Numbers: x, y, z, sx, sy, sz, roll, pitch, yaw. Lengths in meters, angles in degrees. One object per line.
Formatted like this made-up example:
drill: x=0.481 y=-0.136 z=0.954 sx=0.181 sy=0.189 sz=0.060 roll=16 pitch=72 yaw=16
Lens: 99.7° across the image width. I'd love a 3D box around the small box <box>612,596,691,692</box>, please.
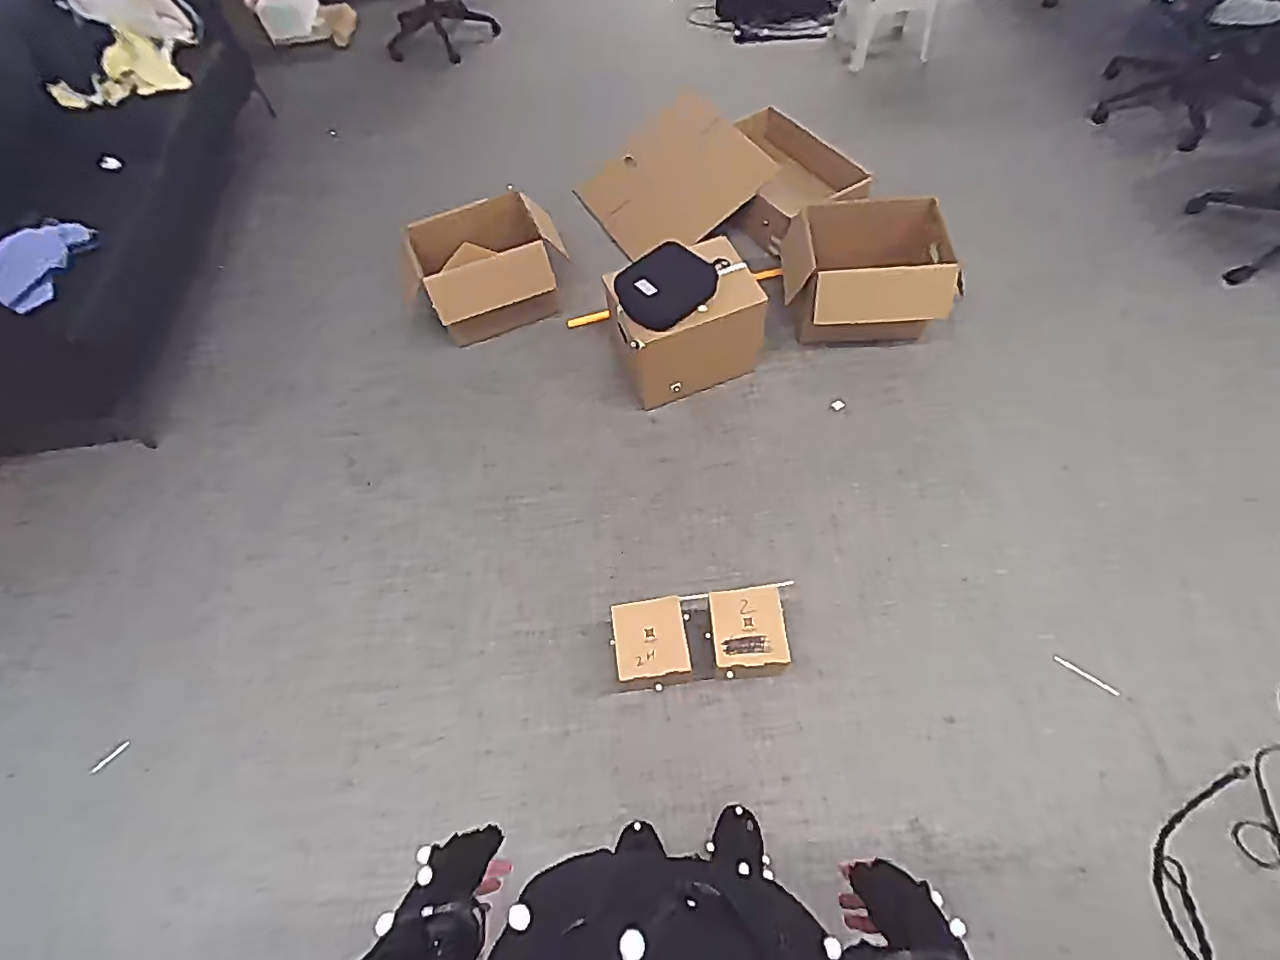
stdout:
small box: x=0.030 y=0.401 z=1.314 sx=0.168 sy=0.176 sz=0.179 roll=-10 pitch=61 yaw=1
